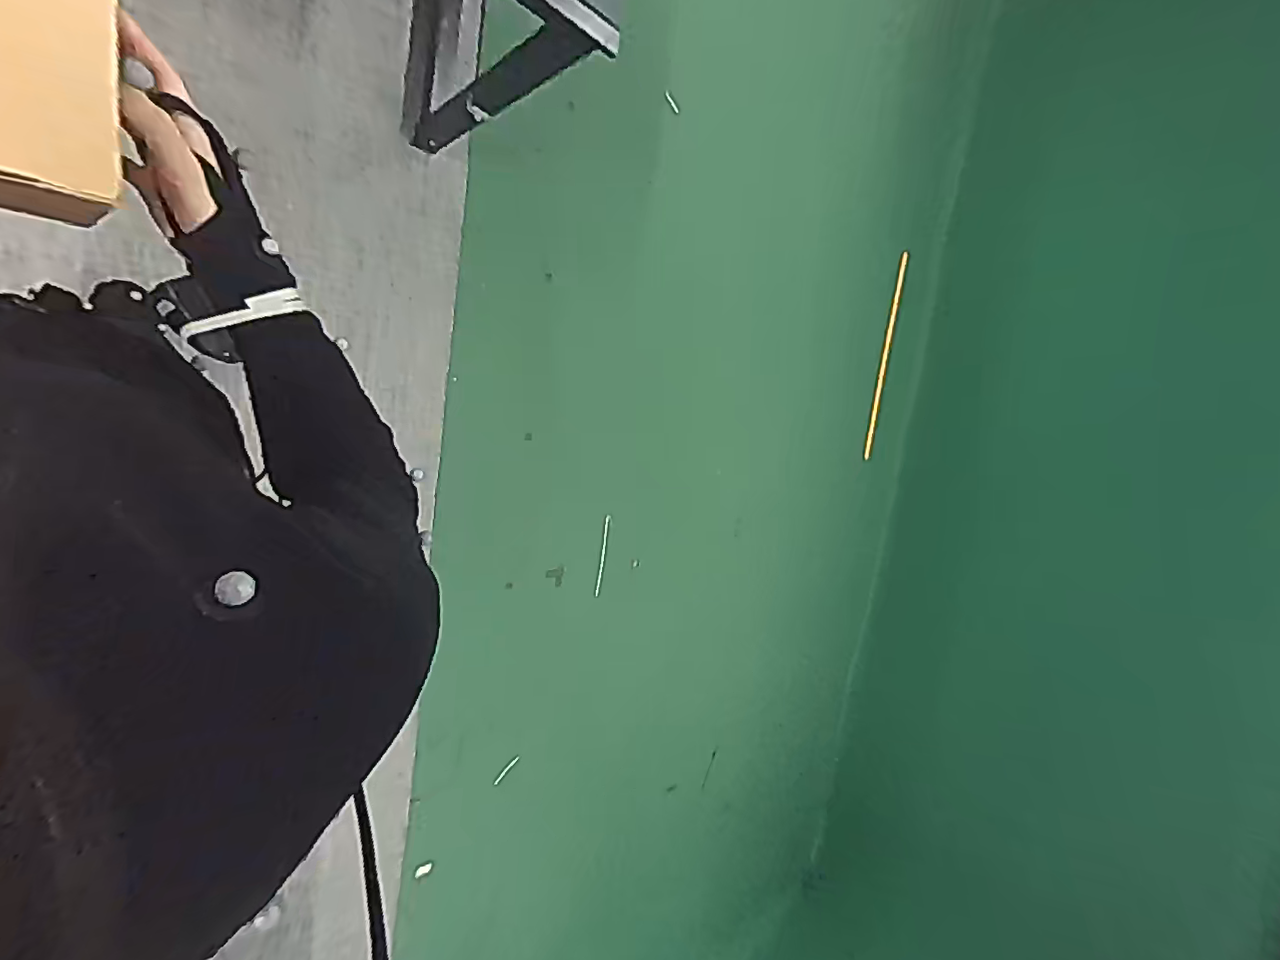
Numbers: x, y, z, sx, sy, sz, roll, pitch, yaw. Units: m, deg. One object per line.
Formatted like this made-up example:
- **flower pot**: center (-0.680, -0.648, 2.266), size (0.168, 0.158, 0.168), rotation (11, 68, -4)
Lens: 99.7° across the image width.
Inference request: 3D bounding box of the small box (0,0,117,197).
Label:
- **small box**: center (-0.381, -0.260, 0.262), size (0.168, 0.176, 0.179), rotation (-5, 108, -49)
